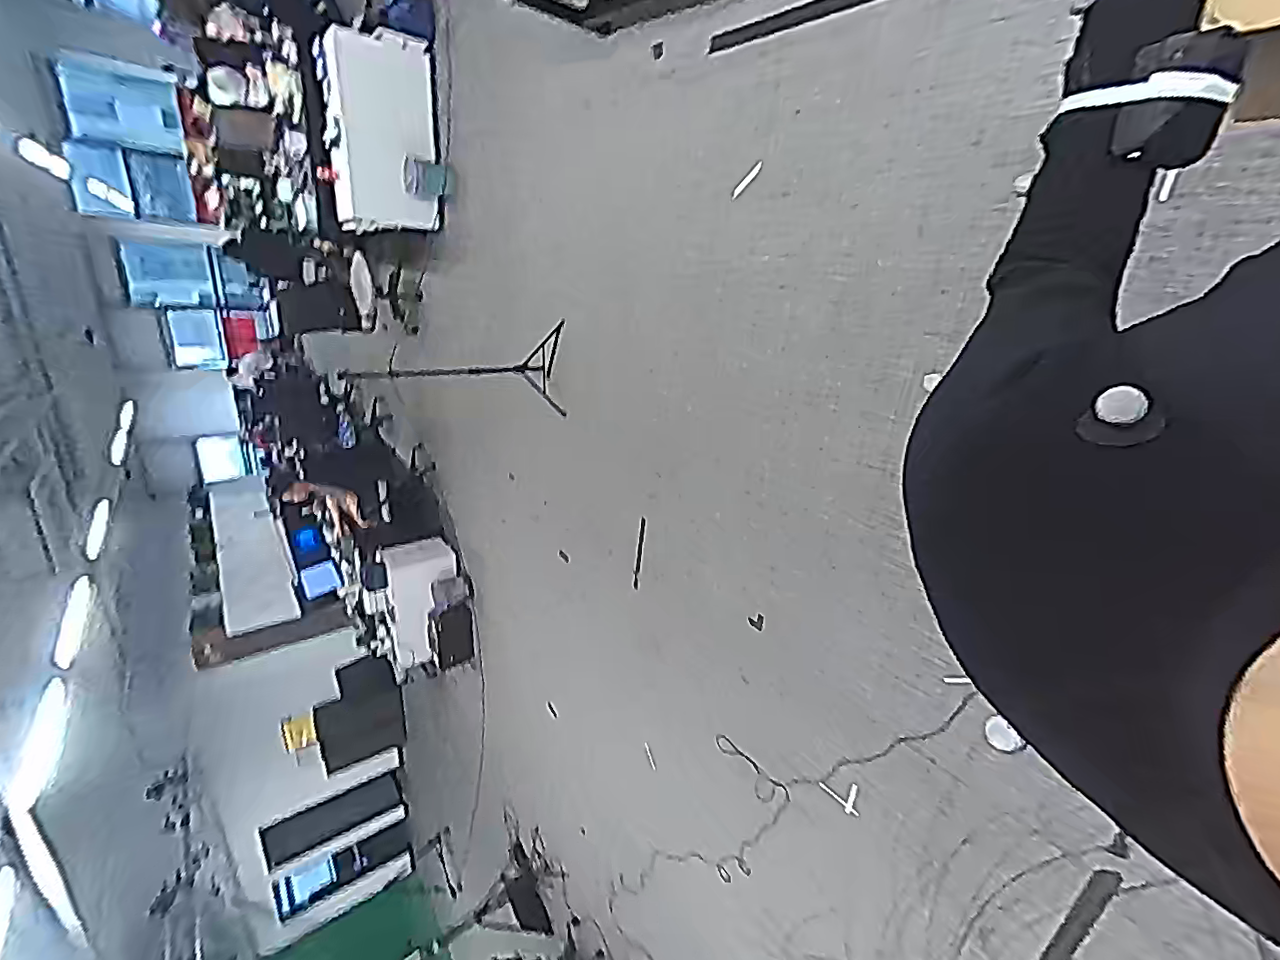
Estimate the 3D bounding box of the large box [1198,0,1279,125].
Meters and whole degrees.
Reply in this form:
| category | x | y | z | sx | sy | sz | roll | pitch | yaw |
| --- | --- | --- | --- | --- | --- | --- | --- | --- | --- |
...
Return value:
| category | x | y | z | sx | sy | sz | roll | pitch | yaw |
| --- | --- | --- | --- | --- | --- | --- | --- | --- | --- |
| large box | 0.594 | -0.404 | 0.251 | 0.408 | 0.320 | 0.320 | 22 | 120 | 43 |
